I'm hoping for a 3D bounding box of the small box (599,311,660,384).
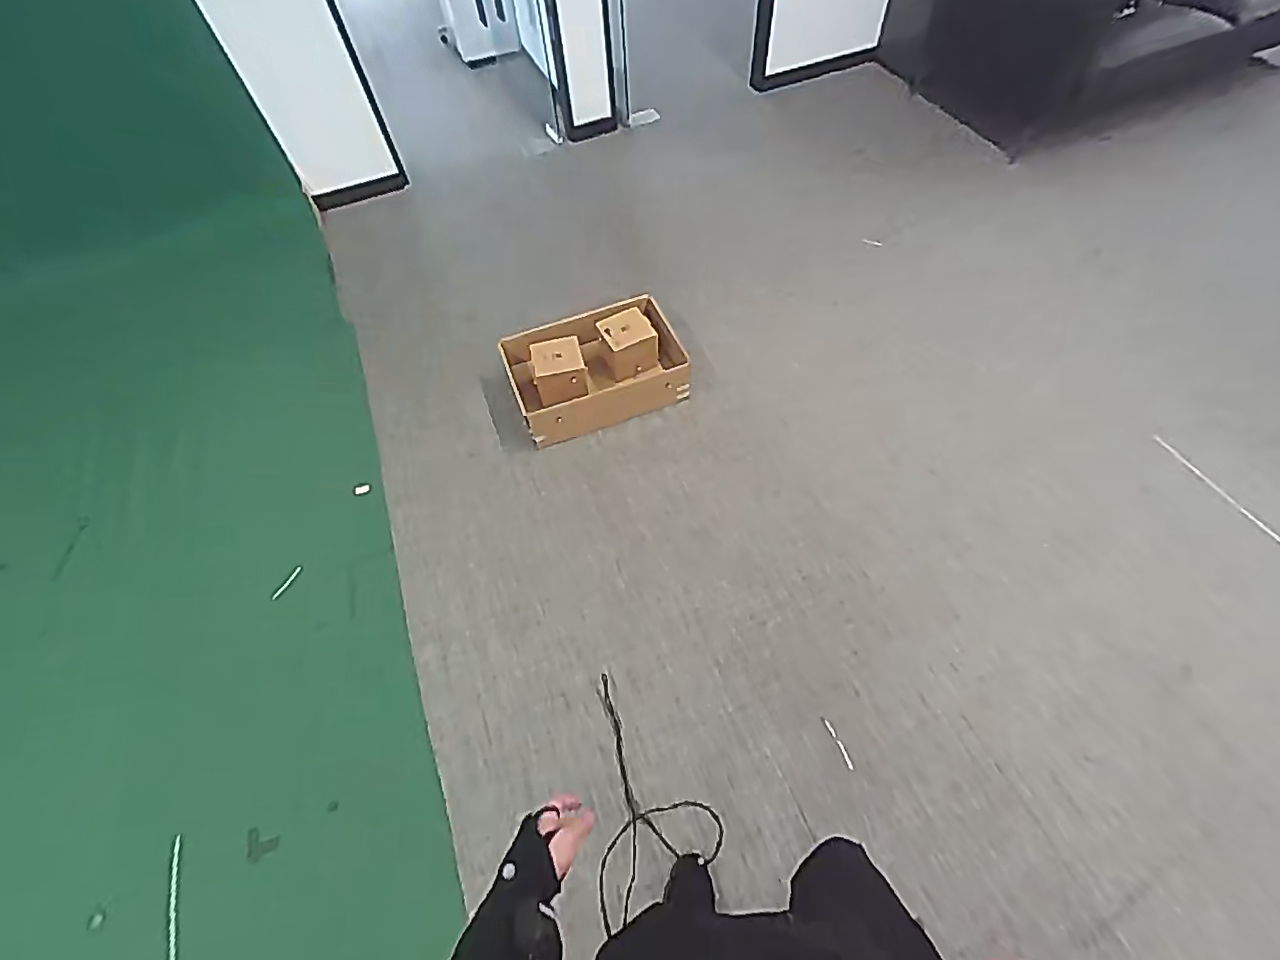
[{"bbox_3d":[-0.038,-0.489,2.011,0.179,0.176,0.168,-24,61,-11],"label":"small box"}]
